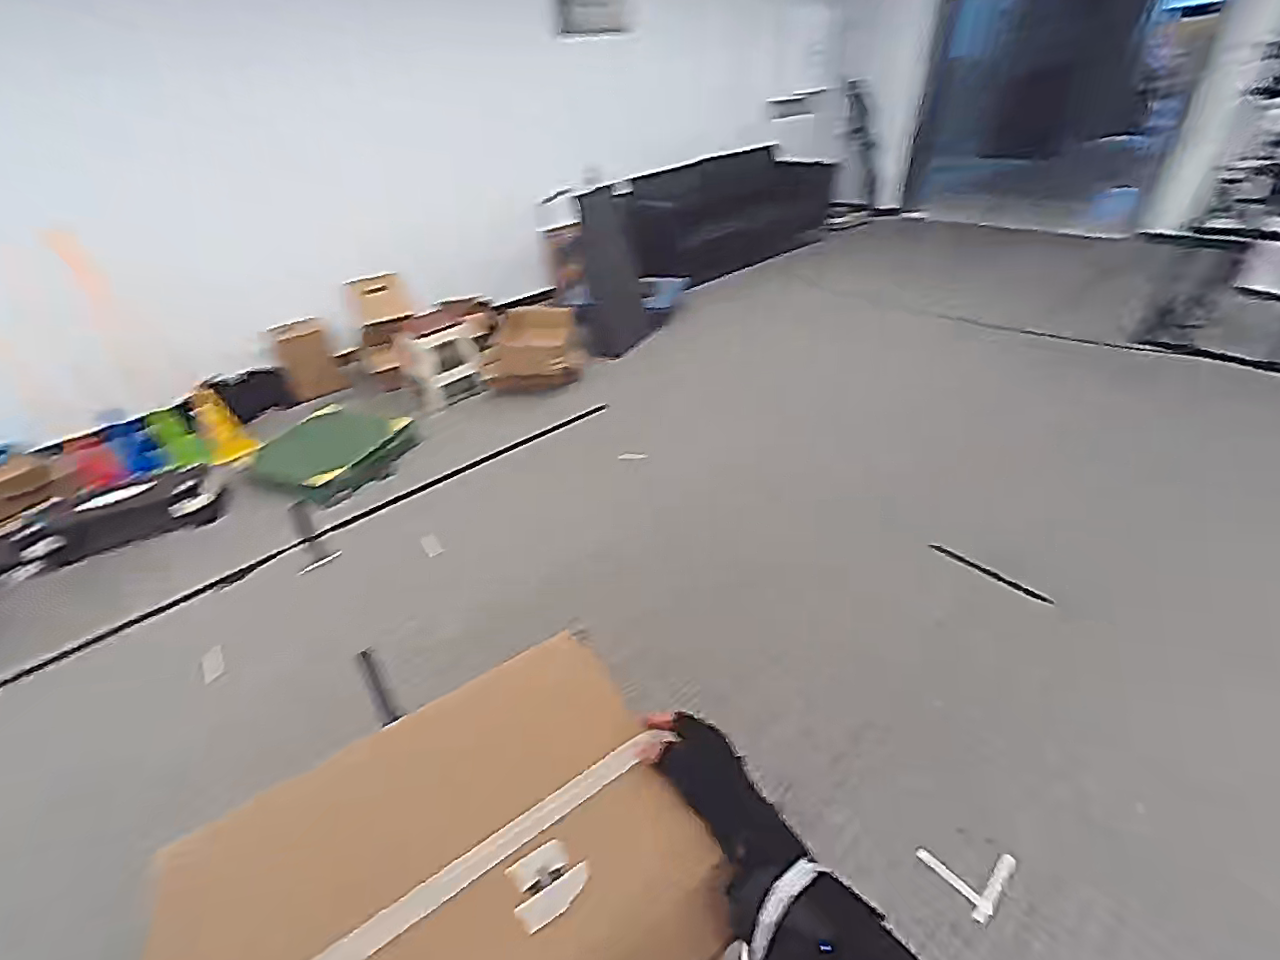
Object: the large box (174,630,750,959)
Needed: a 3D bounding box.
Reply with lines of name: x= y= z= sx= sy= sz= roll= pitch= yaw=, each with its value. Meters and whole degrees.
large box: x=-0.156 y=0.442 z=0.555 sx=0.408 sy=0.320 sz=0.320 roll=-23 pitch=48 yaw=-26
